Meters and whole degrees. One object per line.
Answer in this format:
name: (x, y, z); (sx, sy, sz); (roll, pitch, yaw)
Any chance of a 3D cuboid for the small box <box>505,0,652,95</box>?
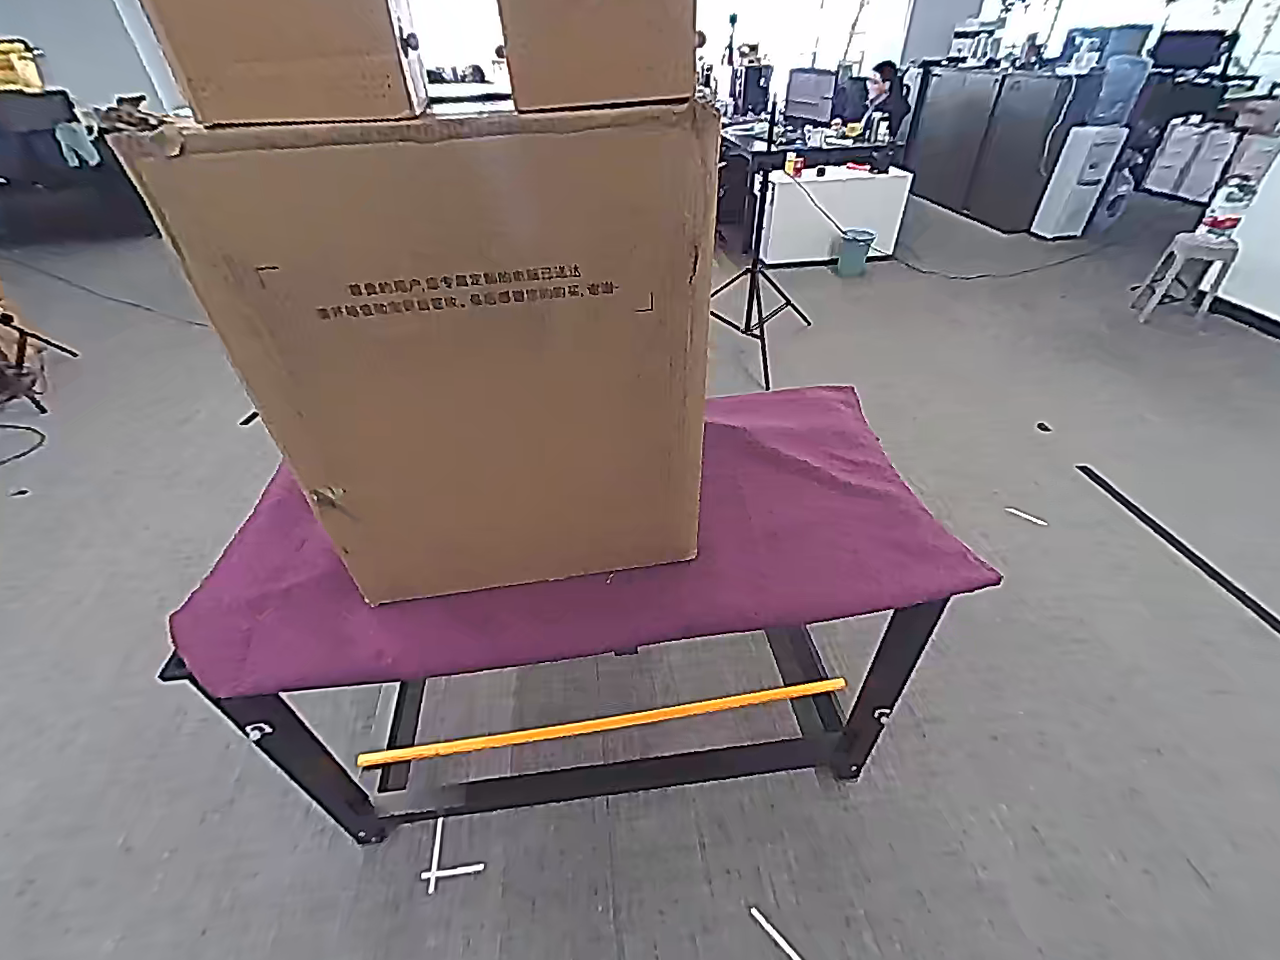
small box: (-0.077, -0.581, 0.665); (0.168, 0.176, 0.179); (-6, 39, -4)
